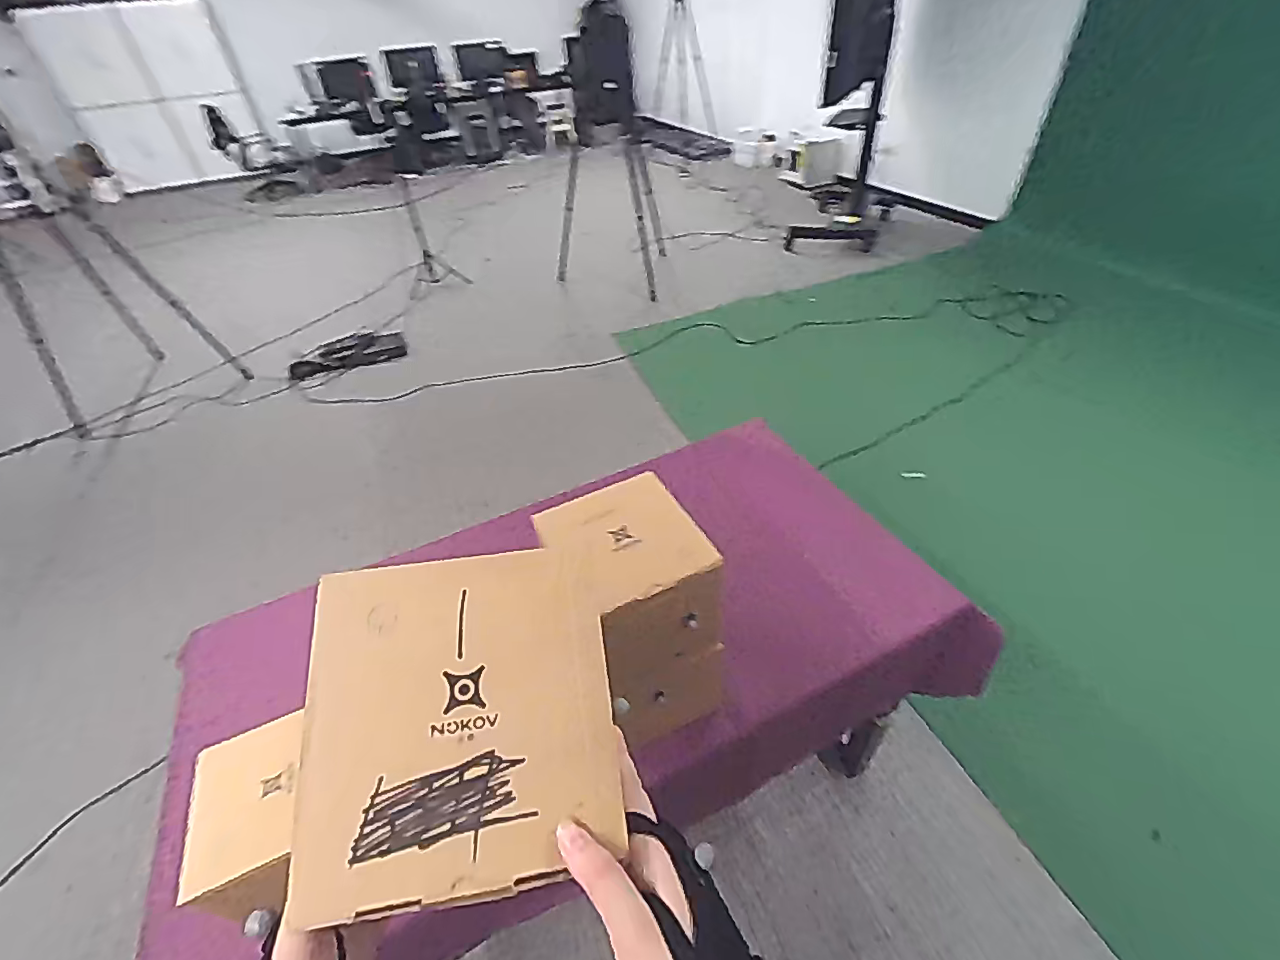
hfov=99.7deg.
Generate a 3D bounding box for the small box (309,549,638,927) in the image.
[{"bbox_3d":[-0.097,0.164,0.374,0.168,0.176,0.179,-5,64,-9],"label":"small box"}]

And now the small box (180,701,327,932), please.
[{"bbox_3d":[-0.398,0.401,0.657,0.179,0.176,0.168,-20,44,-17],"label":"small box"}]

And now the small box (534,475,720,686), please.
[{"bbox_3d":[-0.015,0.129,0.671,0.168,0.176,0.179,-20,43,-17],"label":"small box"}]
